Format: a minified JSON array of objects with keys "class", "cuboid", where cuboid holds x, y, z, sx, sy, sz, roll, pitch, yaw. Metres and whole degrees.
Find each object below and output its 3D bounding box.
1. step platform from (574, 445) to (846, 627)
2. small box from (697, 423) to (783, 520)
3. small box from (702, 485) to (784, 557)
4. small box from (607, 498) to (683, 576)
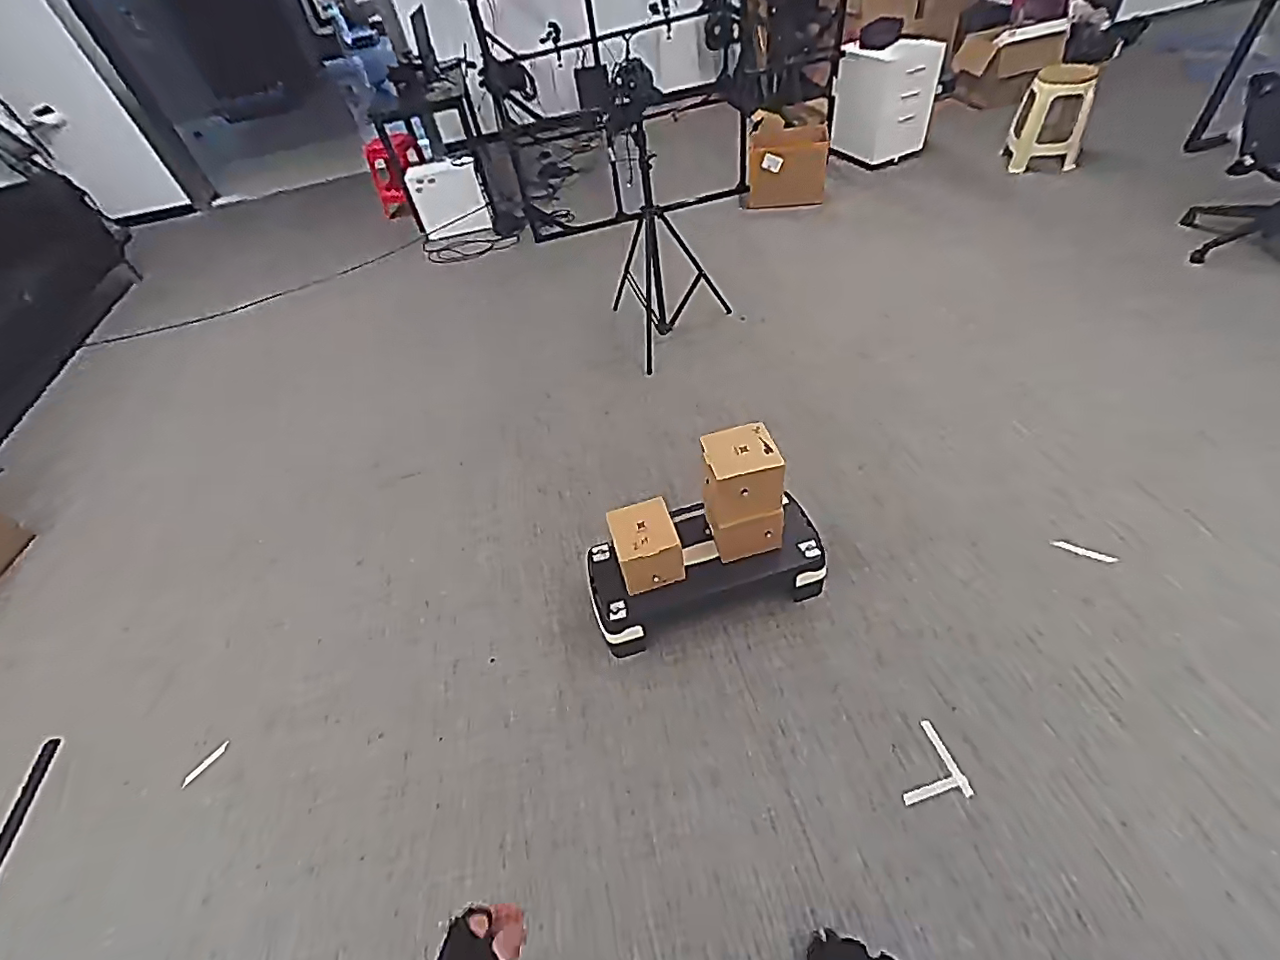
[{"class":"step platform","cuboid":[0.179,0.148,1.441,0.684,0.204,0.286,-16,47,-5]},{"class":"small box","cuboid":[0.259,-0.017,1.402,0.179,0.176,0.168,-14,47,-1]},{"class":"small box","cuboid":[0.283,0.106,1.509,0.179,0.176,0.168,-16,47,-4]},{"class":"small box","cuboid":[0.015,0.184,1.486,0.168,0.176,0.179,-17,48,-4]}]
